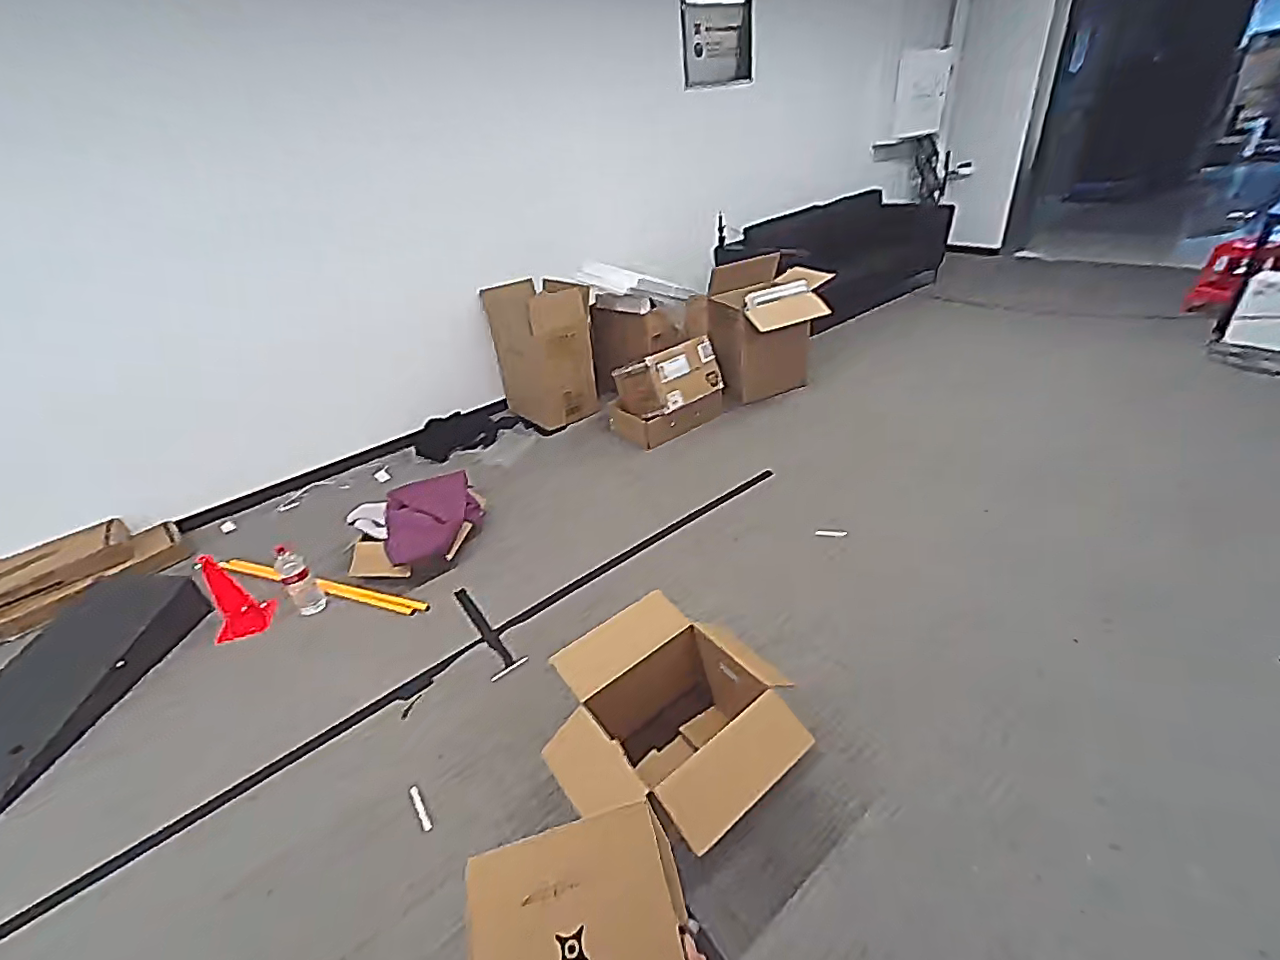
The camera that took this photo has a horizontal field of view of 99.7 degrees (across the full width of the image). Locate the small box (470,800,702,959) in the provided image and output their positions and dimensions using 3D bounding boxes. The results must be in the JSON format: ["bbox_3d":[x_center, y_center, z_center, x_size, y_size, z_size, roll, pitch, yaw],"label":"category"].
[{"bbox_3d":[-0.036,0.419,0.472,0.168,0.176,0.179,-17,44,-5],"label":"small box"}]
